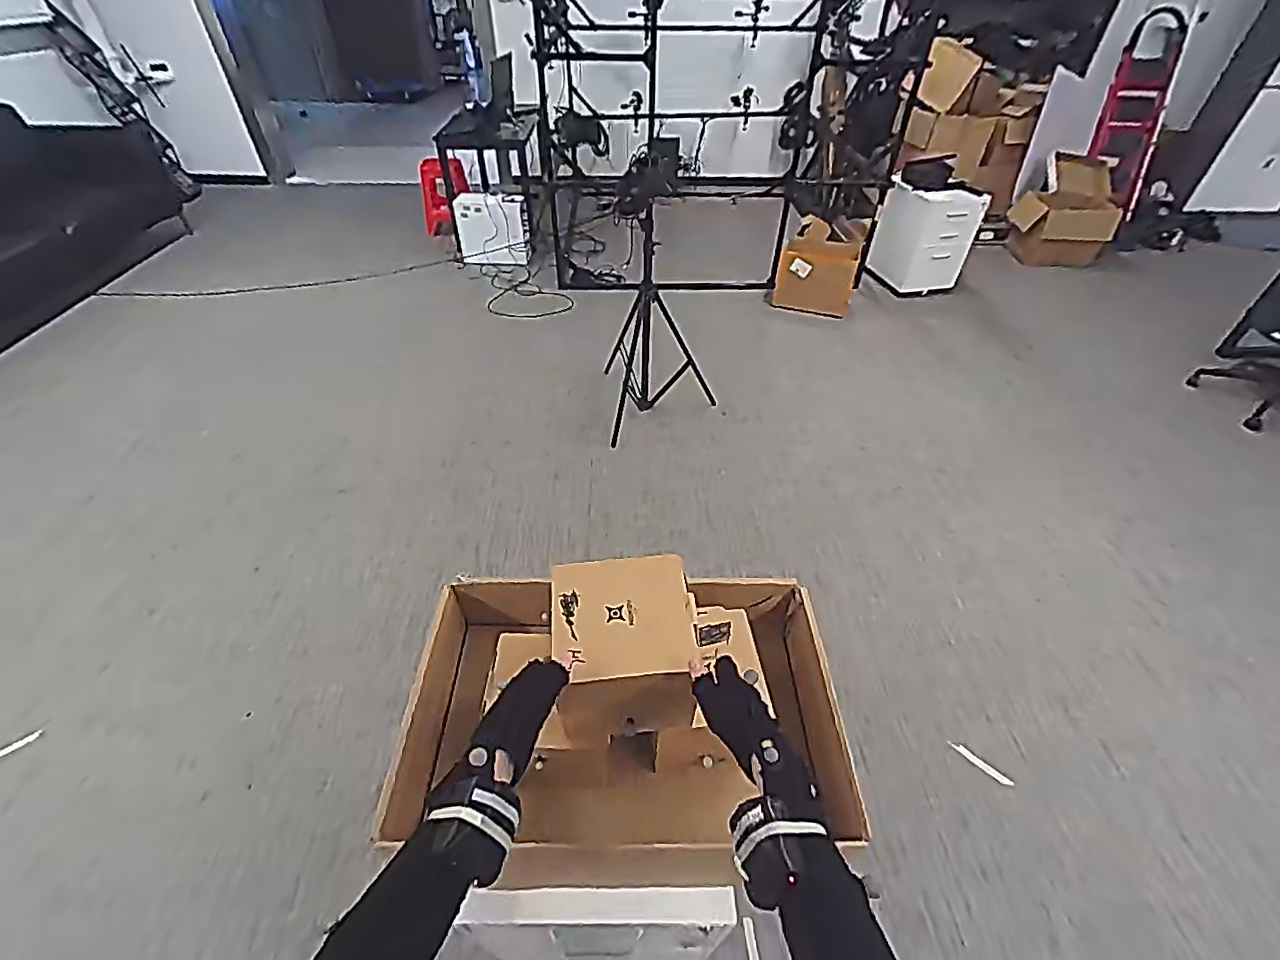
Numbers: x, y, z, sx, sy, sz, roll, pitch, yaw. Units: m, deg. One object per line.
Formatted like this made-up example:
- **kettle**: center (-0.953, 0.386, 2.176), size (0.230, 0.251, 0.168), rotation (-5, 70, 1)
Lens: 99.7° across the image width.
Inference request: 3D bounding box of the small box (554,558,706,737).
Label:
- **small box**: center (-0.021, 0.224, 0.721), size (0.179, 0.176, 0.168), rotation (-3, 45, -5)
